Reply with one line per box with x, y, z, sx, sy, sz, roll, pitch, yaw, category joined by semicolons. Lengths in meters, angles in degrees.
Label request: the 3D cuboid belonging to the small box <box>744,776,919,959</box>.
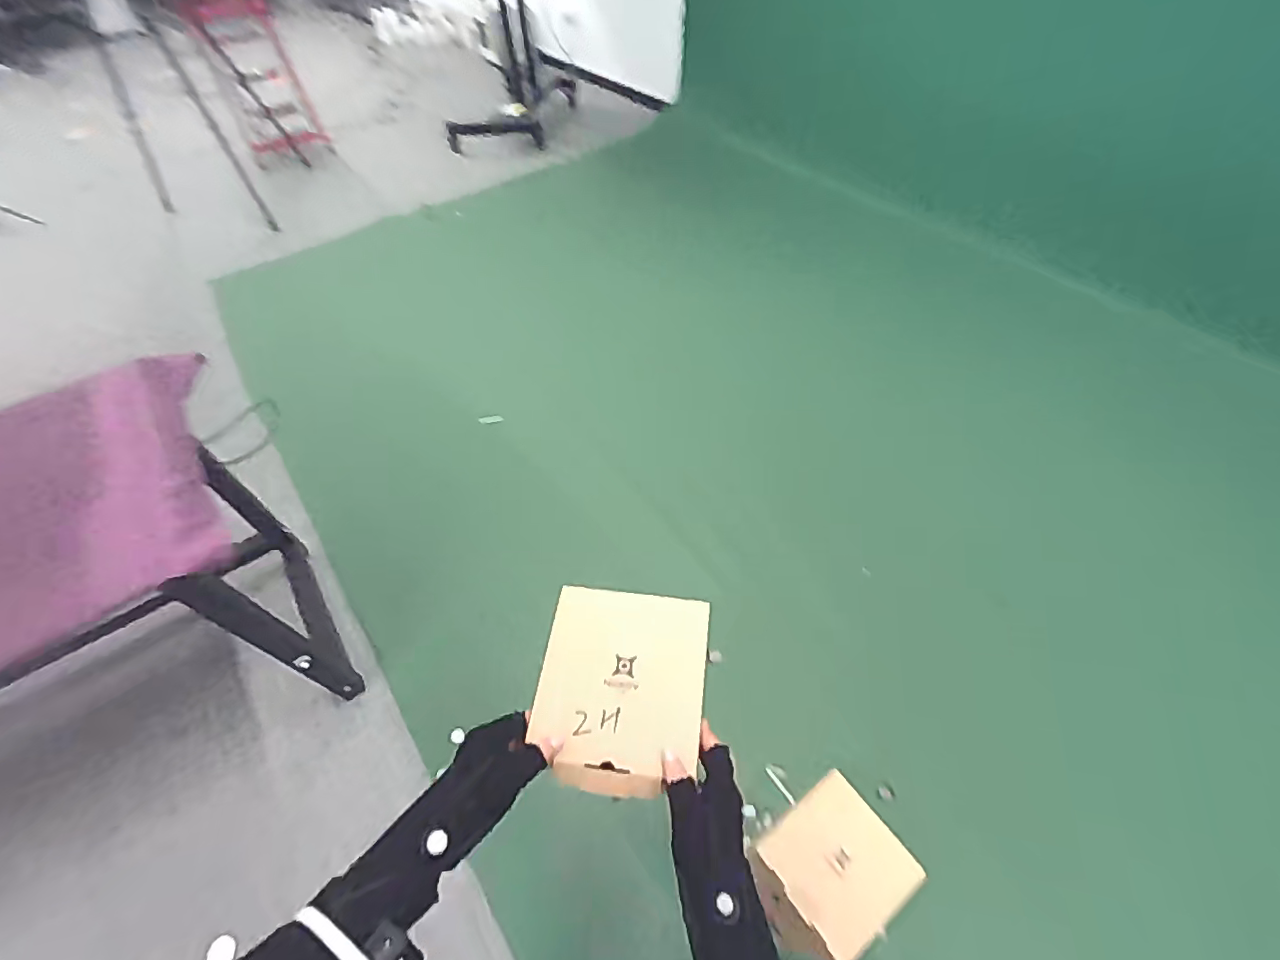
0.281;0.599;0.836;0.179;0.176;0.168;-31;57;-21;small box

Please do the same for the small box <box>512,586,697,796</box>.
-0.026;0.242;0.614;0.168;0.176;0.179;4;56;8;small box

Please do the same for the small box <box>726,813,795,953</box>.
0.288;0.804;1.092;0.179;0.176;0.168;-29;56;-19;small box
